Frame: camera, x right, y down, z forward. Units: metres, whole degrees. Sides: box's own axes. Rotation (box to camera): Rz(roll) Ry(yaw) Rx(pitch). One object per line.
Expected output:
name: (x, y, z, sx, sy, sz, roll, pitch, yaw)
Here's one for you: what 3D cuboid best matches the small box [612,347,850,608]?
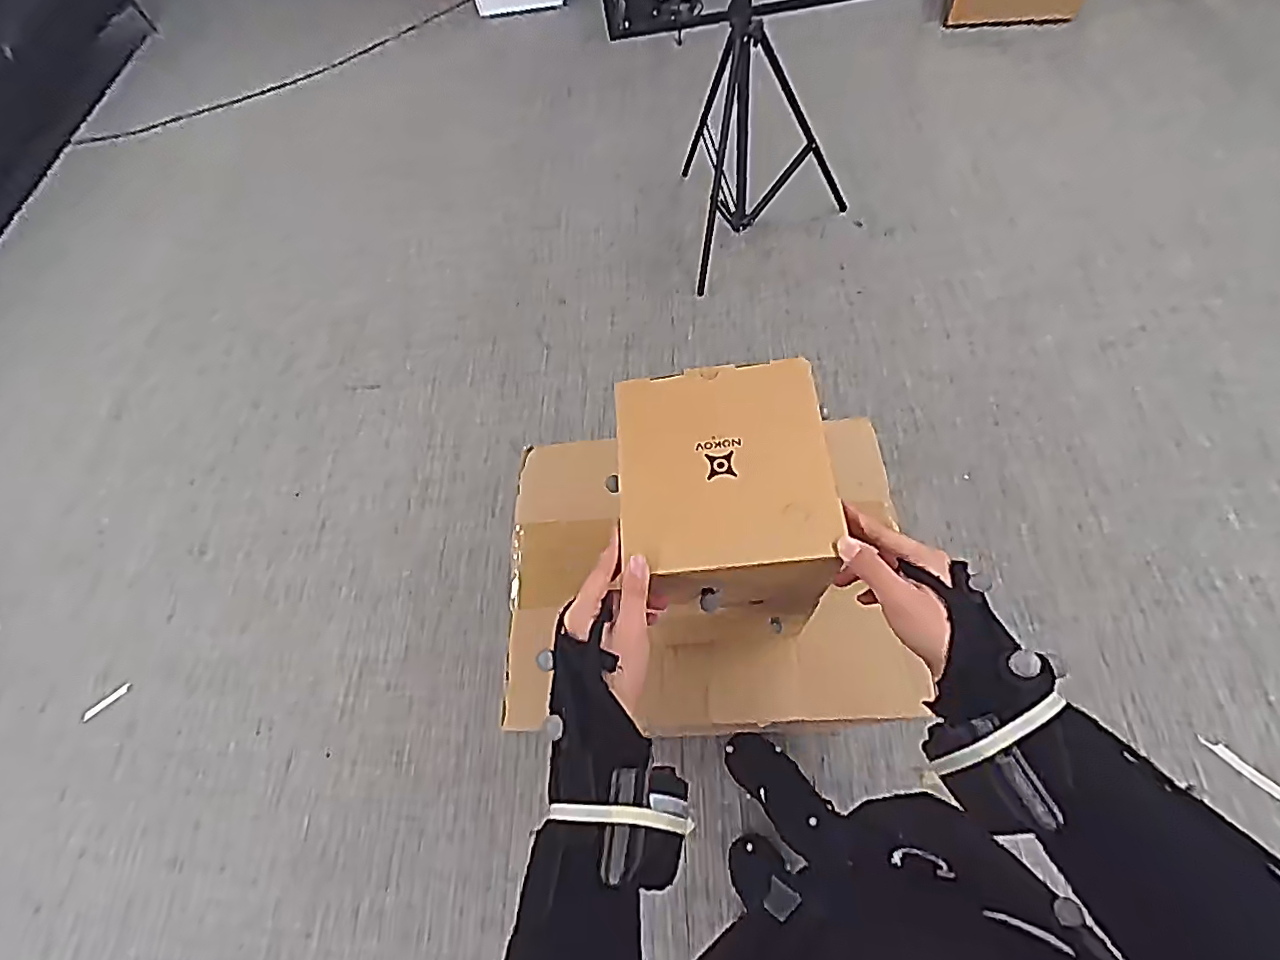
small box: (0.074, 0.012, 0.485, 0.168, 0.176, 0.179, -7, 64, 7)
